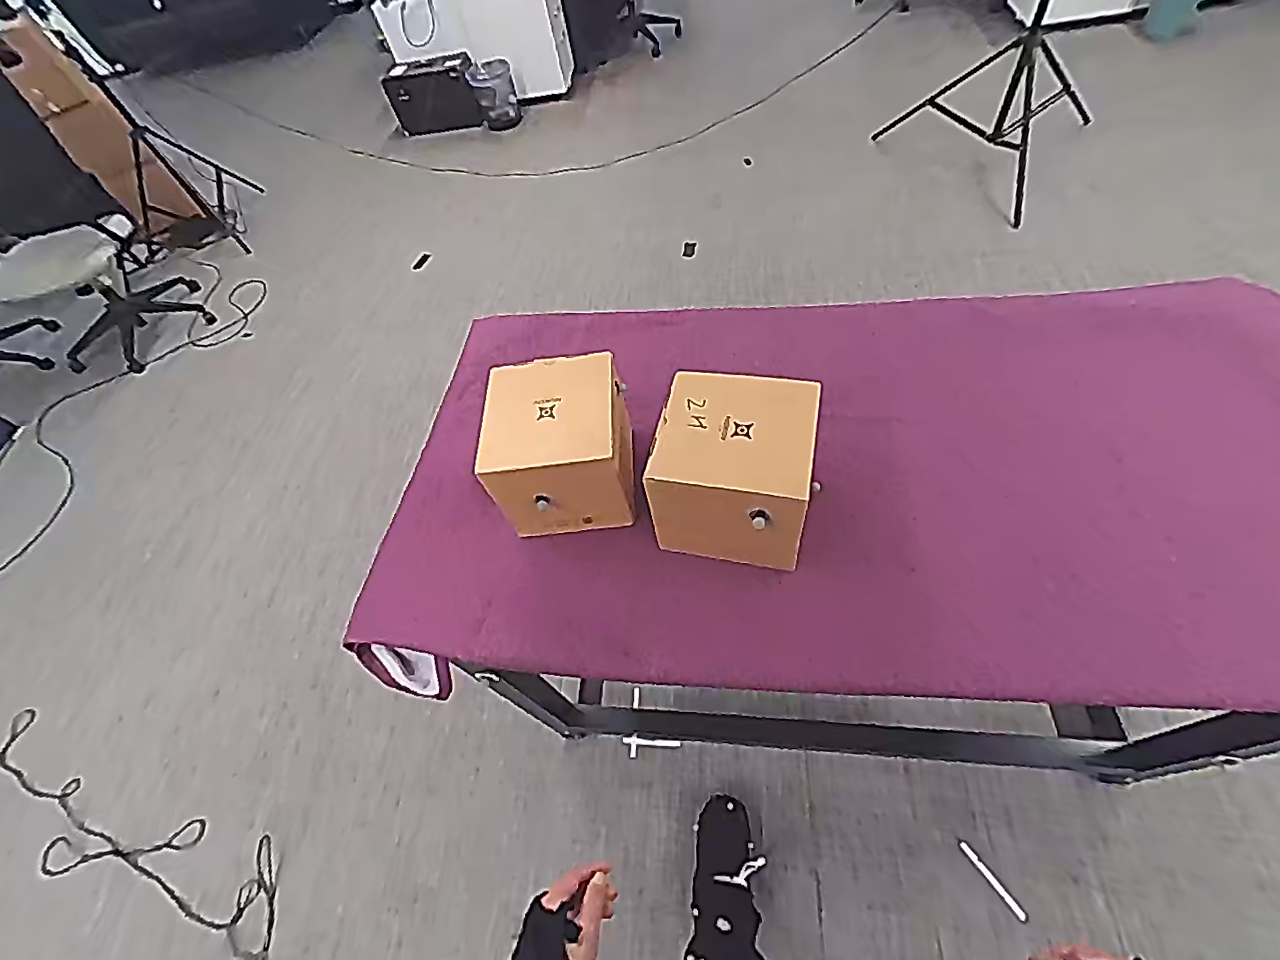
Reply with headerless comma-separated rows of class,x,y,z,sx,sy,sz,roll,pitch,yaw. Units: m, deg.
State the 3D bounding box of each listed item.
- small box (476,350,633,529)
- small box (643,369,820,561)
small box,-0.104,-0.045,0.735,0.168,0.176,0.179,-8,55,6
small box,0.117,-0.014,0.672,0.179,0.176,0.168,7,57,16
